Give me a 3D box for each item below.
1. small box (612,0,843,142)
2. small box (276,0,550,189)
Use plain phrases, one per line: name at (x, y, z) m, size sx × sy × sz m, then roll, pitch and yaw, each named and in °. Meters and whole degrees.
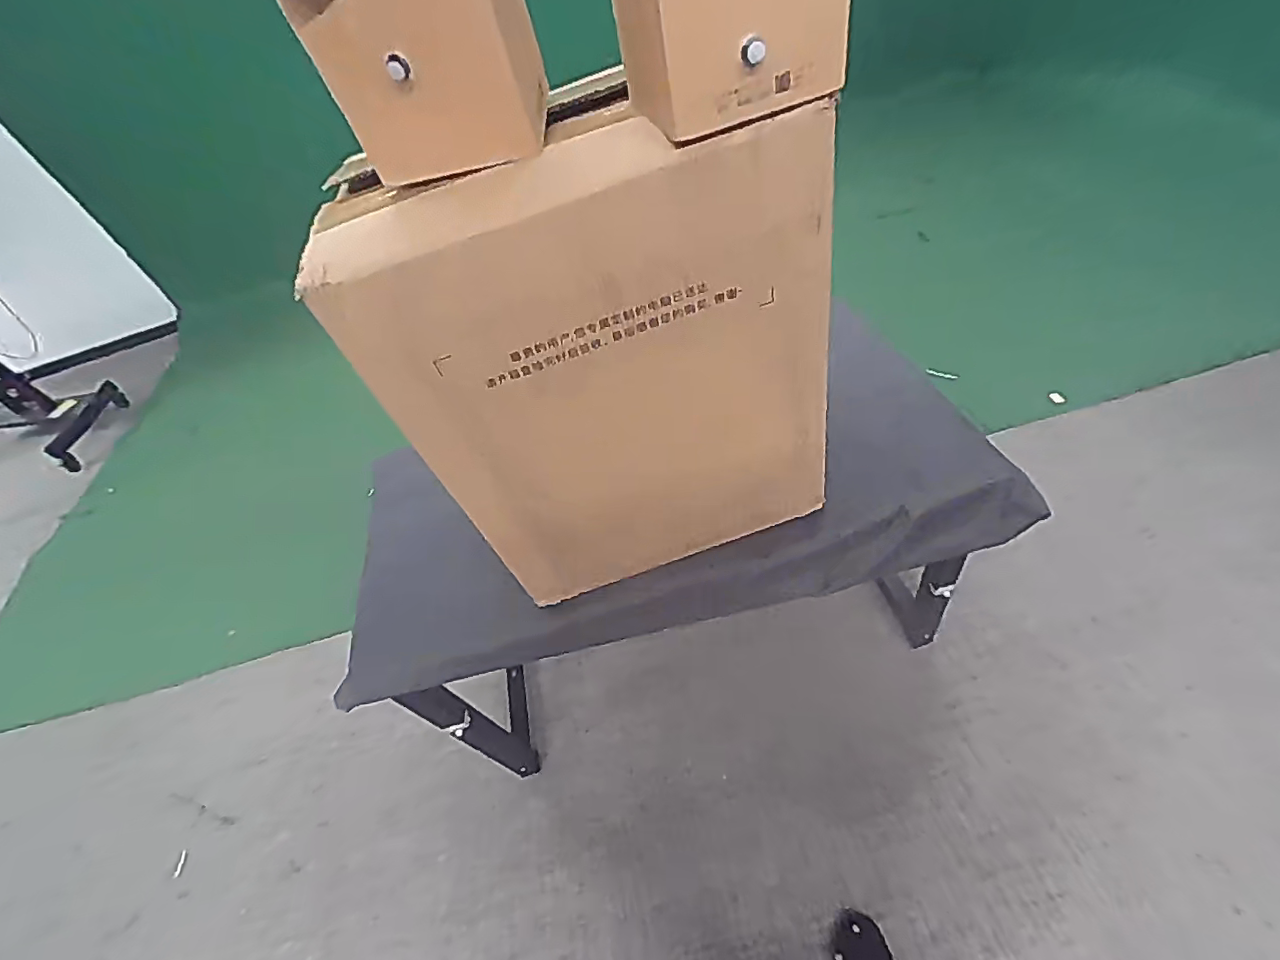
small box at (0.069, -0.437, 0.491) m, size 0.168 × 0.176 × 0.179 m, roll -19°, pitch 48°, yaw -1°
small box at (-0.206, -0.426, 0.547) m, size 0.179 × 0.176 × 0.168 m, roll -8°, pitch 57°, yaw 8°
